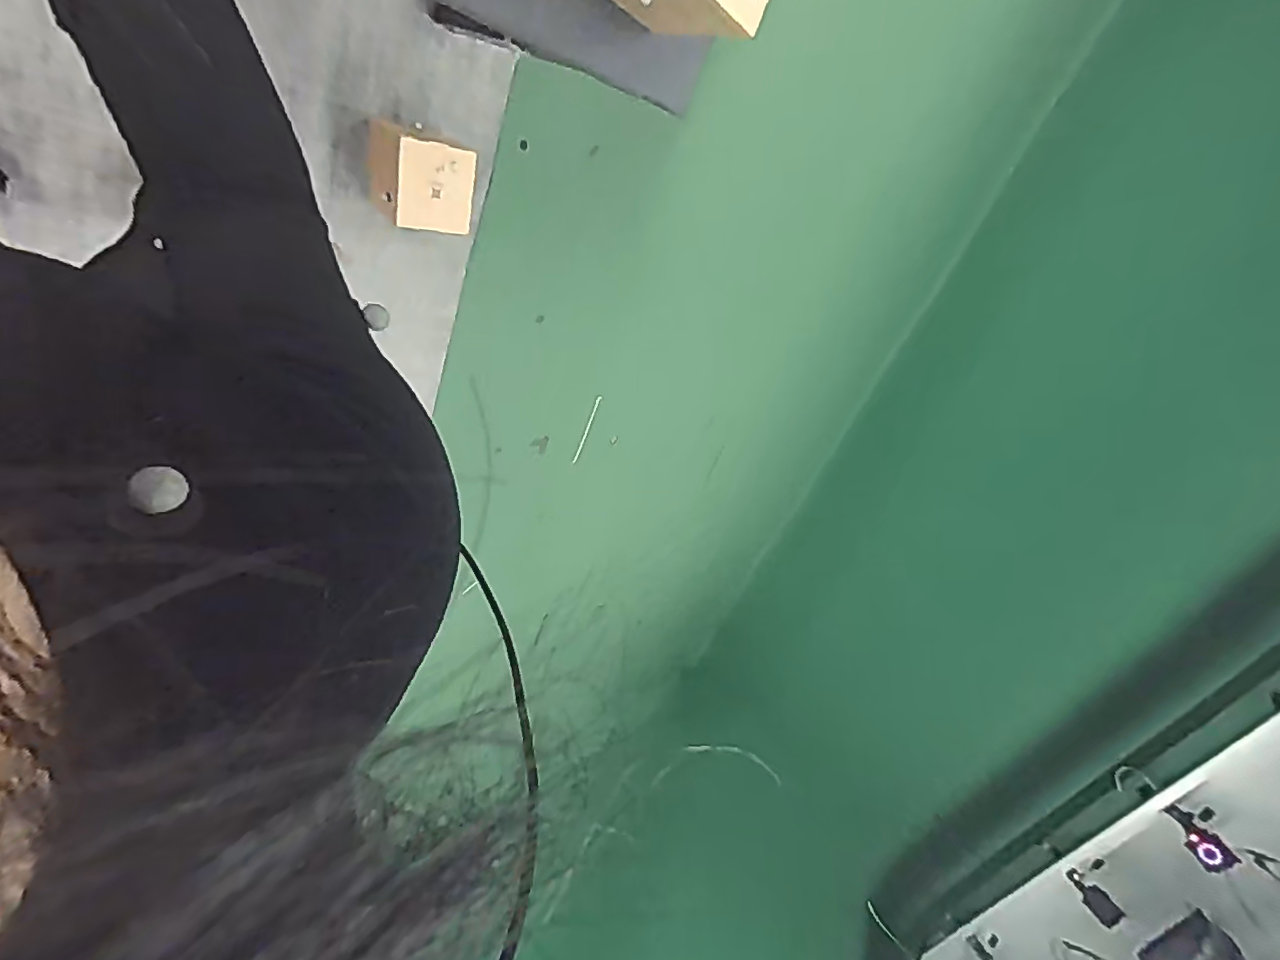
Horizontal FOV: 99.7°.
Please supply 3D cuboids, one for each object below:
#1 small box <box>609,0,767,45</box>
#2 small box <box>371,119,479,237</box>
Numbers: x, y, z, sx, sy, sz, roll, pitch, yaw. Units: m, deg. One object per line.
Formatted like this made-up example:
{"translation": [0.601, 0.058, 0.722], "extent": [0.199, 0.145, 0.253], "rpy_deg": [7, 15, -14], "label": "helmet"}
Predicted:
{"translation": [0.036, -0.568, 0.524], "extent": [0.179, 0.176, 0.168], "rpy_deg": [-3, 124, -46], "label": "small box"}
{"translation": [-0.480, -0.664, 1.197], "extent": [0.168, 0.176, 0.179], "rpy_deg": [-14, 135, -41], "label": "small box"}
